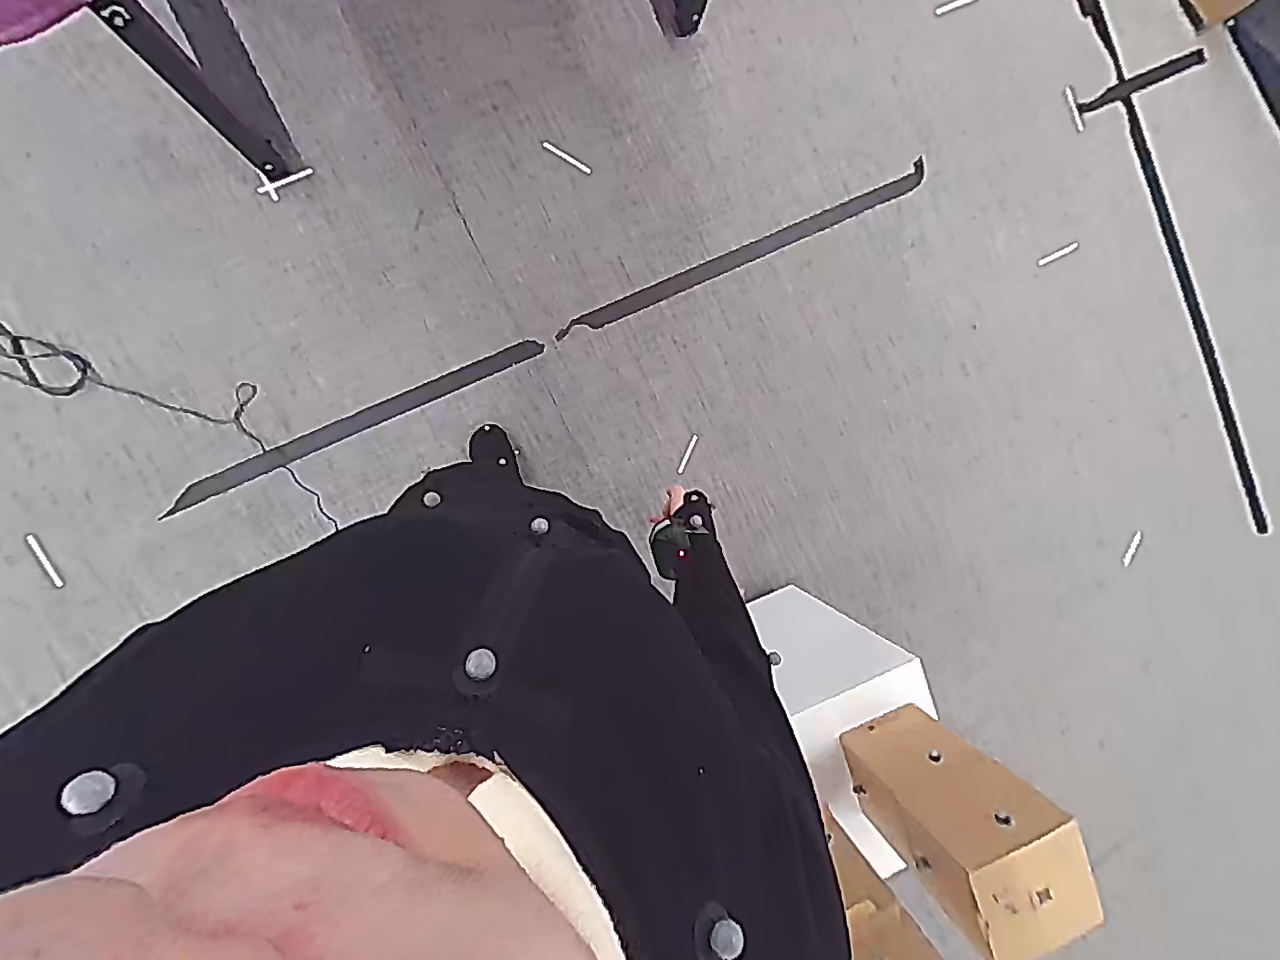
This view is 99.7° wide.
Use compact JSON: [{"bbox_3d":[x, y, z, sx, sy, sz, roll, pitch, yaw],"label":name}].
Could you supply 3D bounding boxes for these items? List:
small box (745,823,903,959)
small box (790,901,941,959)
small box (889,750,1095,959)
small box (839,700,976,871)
[{"bbox_3d":[0.272,0.636,0.775,0.168,0.176,0.179,-22,98,-8],"label":"small box"},{"bbox_3d":[0.298,0.647,0.615,0.168,0.176,0.179,-22,97,-7],"label":"small box"},{"bbox_3d":[0.515,0.545,0.808,0.179,0.176,0.168,-20,97,-7],"label":"small box"},{"bbox_3d":[0.488,0.536,0.971,0.168,0.176,0.179,-20,98,-8],"label":"small box"}]
